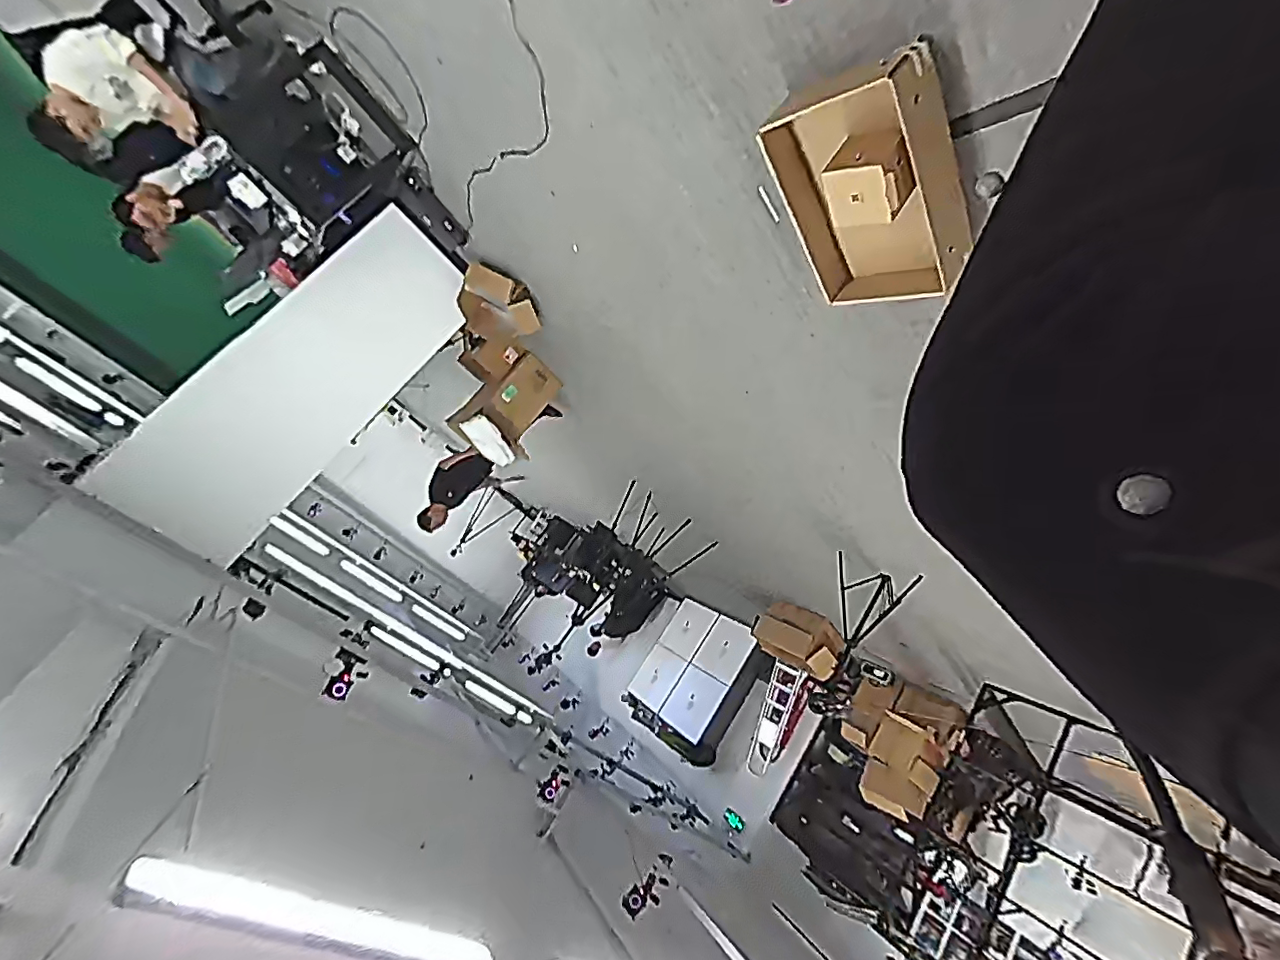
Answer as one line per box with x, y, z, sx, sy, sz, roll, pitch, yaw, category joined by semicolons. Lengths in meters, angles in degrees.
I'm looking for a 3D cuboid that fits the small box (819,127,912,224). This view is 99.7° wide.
0.622;-0.829;1.476;0.179;0.176;0.168;21;158;43;small box
